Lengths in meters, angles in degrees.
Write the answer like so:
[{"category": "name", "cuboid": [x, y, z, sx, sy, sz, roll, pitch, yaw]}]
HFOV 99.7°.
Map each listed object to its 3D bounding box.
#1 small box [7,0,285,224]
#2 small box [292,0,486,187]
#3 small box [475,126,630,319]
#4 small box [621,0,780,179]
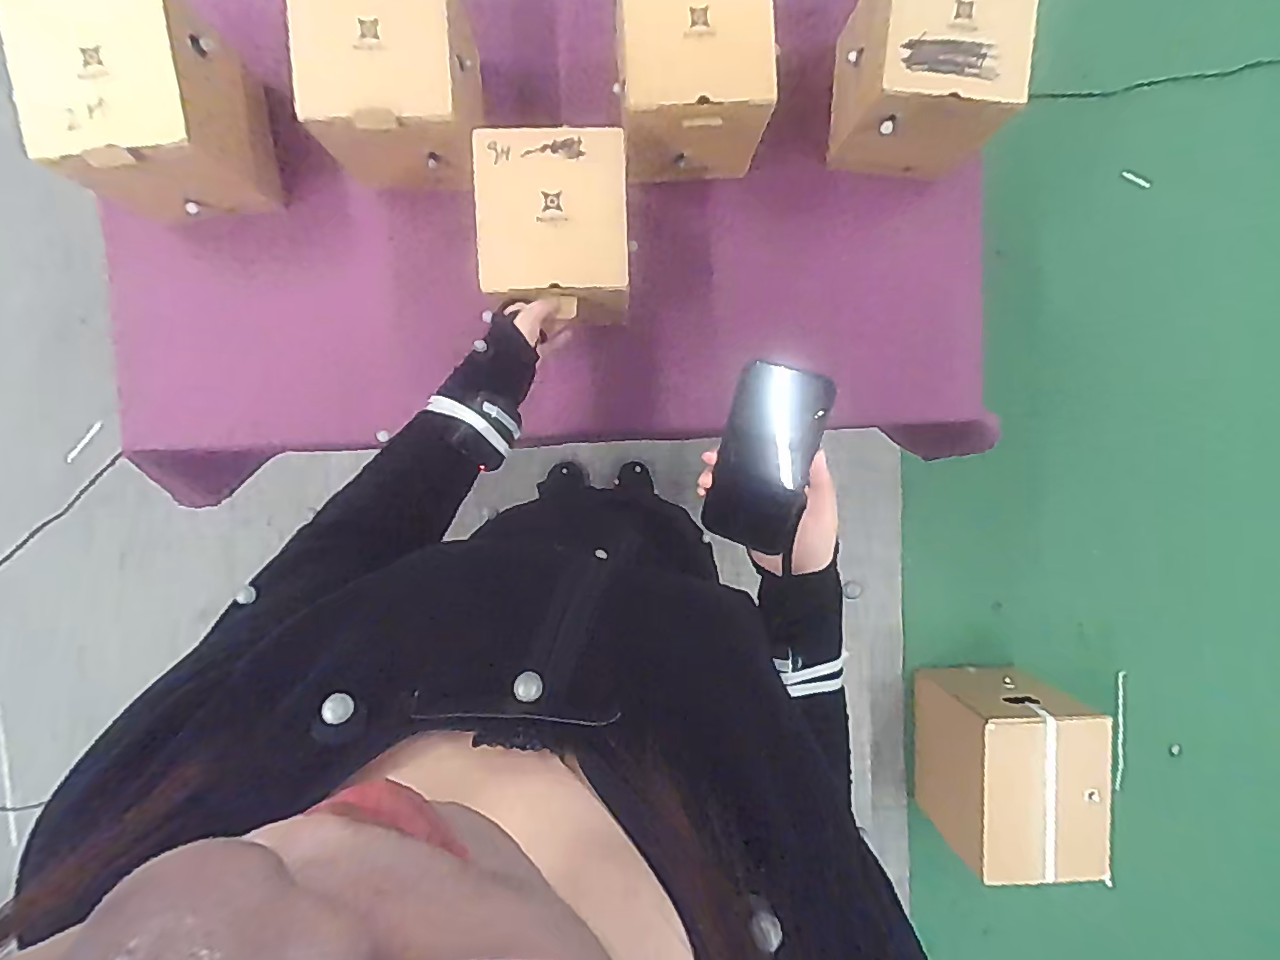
[{"category": "small box", "cuboid": [-0.563, -0.433, 0.642, 0.168, 0.176, 0.179, -7, 94, -2]}, {"category": "small box", "cuboid": [-0.285, -0.475, 0.651, 0.168, 0.176, 0.179, -2, 94, -3]}, {"category": "small box", "cuboid": [-0.096, -0.300, 0.668, 0.168, 0.176, 0.179, -2, 94, -2]}, {"category": "small box", "cuboid": [0.064, -0.500, 0.662, 0.168, 0.176, 0.179, -4, 94, -2]}]
